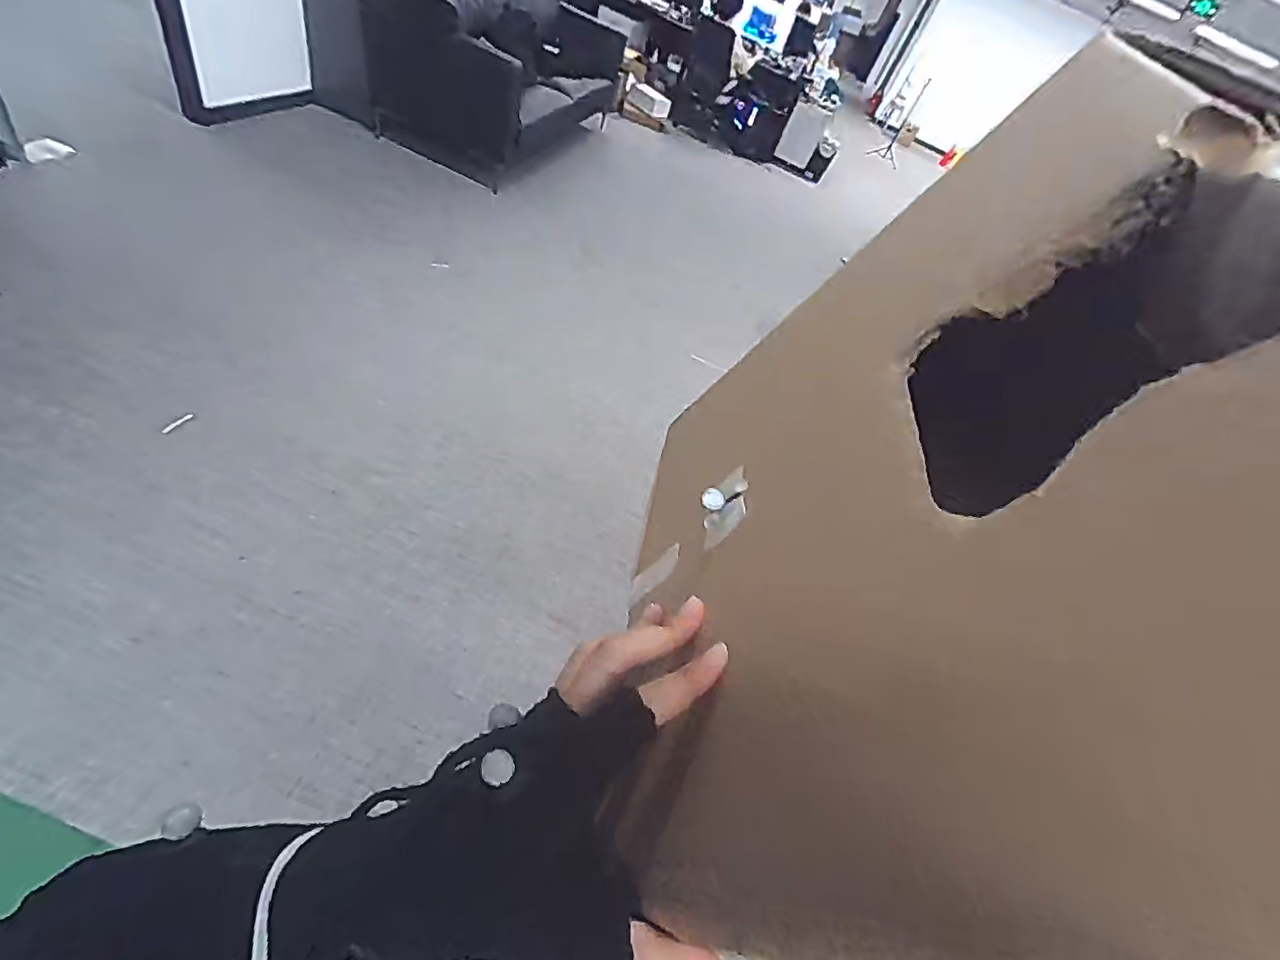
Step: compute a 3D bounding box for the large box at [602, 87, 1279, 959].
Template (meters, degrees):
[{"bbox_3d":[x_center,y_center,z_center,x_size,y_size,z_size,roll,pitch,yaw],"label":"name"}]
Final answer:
[{"bbox_3d":[0.243,0.101,0.305,0.408,0.320,0.320,31,47,-19],"label":"large box"}]
